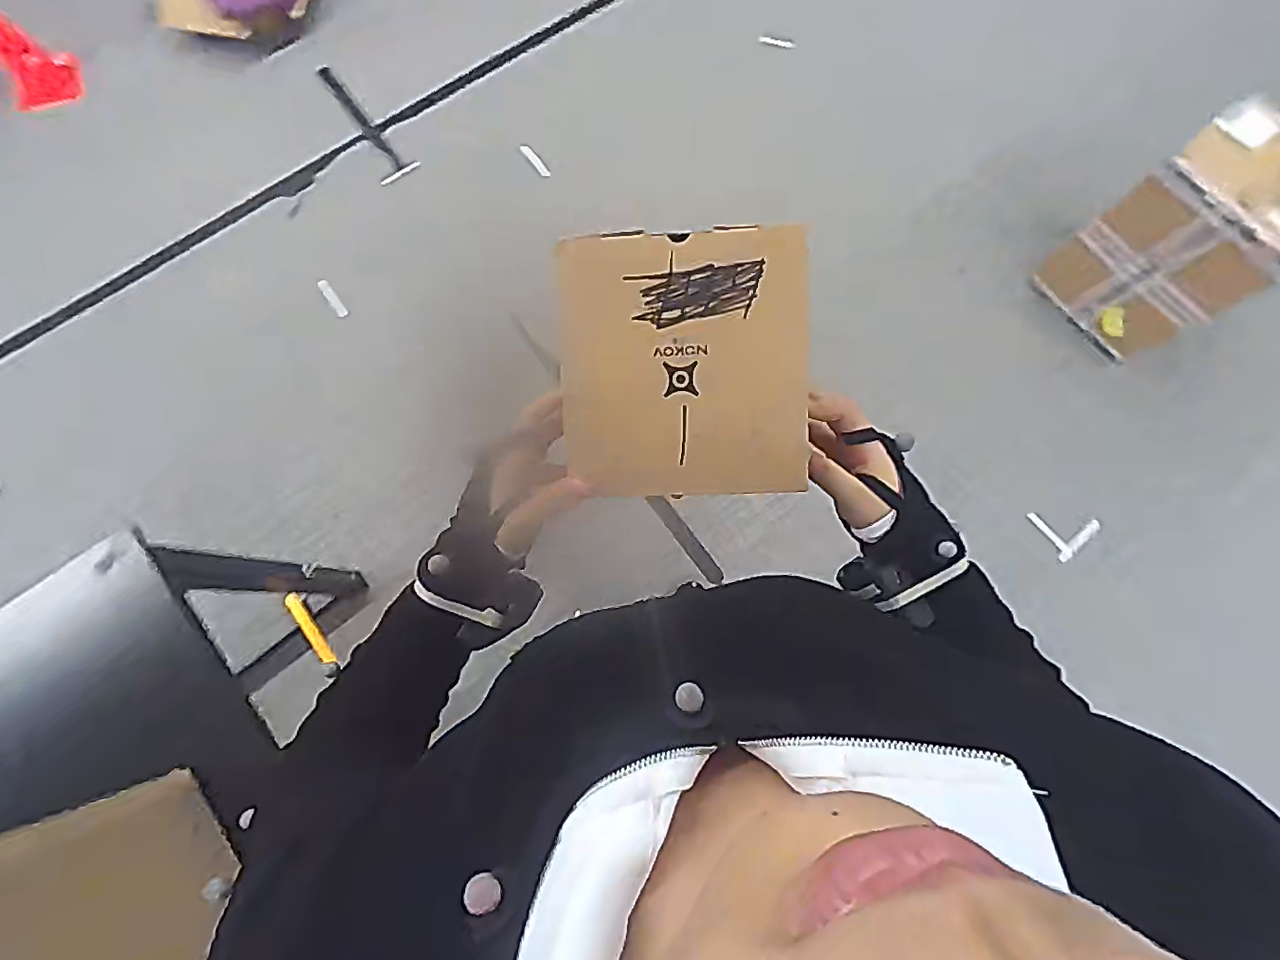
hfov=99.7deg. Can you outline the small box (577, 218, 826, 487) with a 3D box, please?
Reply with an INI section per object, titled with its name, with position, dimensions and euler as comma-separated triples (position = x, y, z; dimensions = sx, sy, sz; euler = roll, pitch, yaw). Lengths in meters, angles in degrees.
[small box]
position = 0.045, -0.089, 0.439
dimensions = 0.168, 0.176, 0.179
euler = -1, 96, 5
